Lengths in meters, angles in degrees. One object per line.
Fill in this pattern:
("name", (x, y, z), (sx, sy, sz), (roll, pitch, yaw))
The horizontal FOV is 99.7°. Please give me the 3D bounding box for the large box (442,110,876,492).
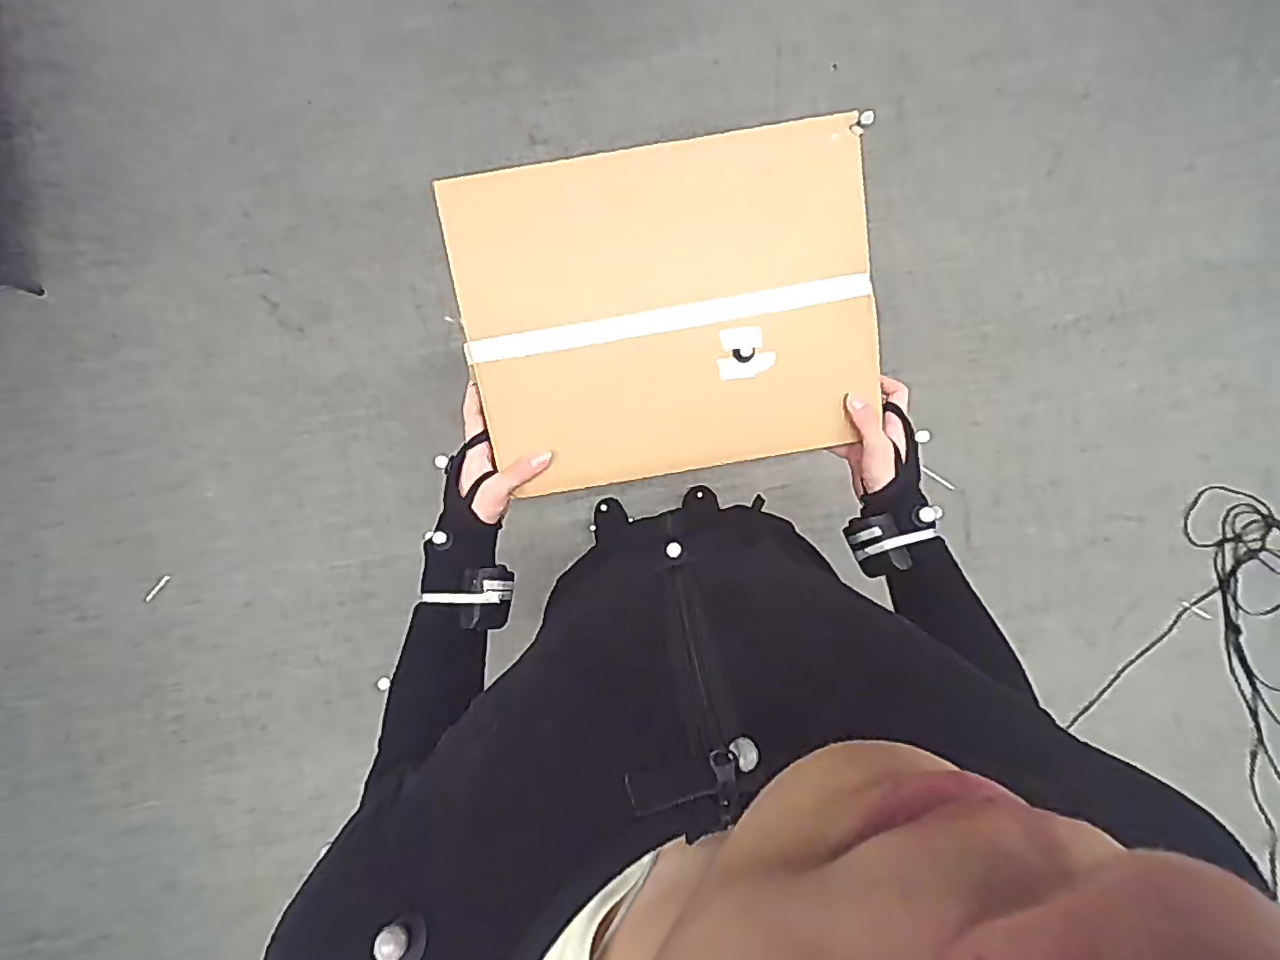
("large box", (0.023, -0.198, 0.690), (0.408, 0.320, 0.320), (-10, 102, -1))
